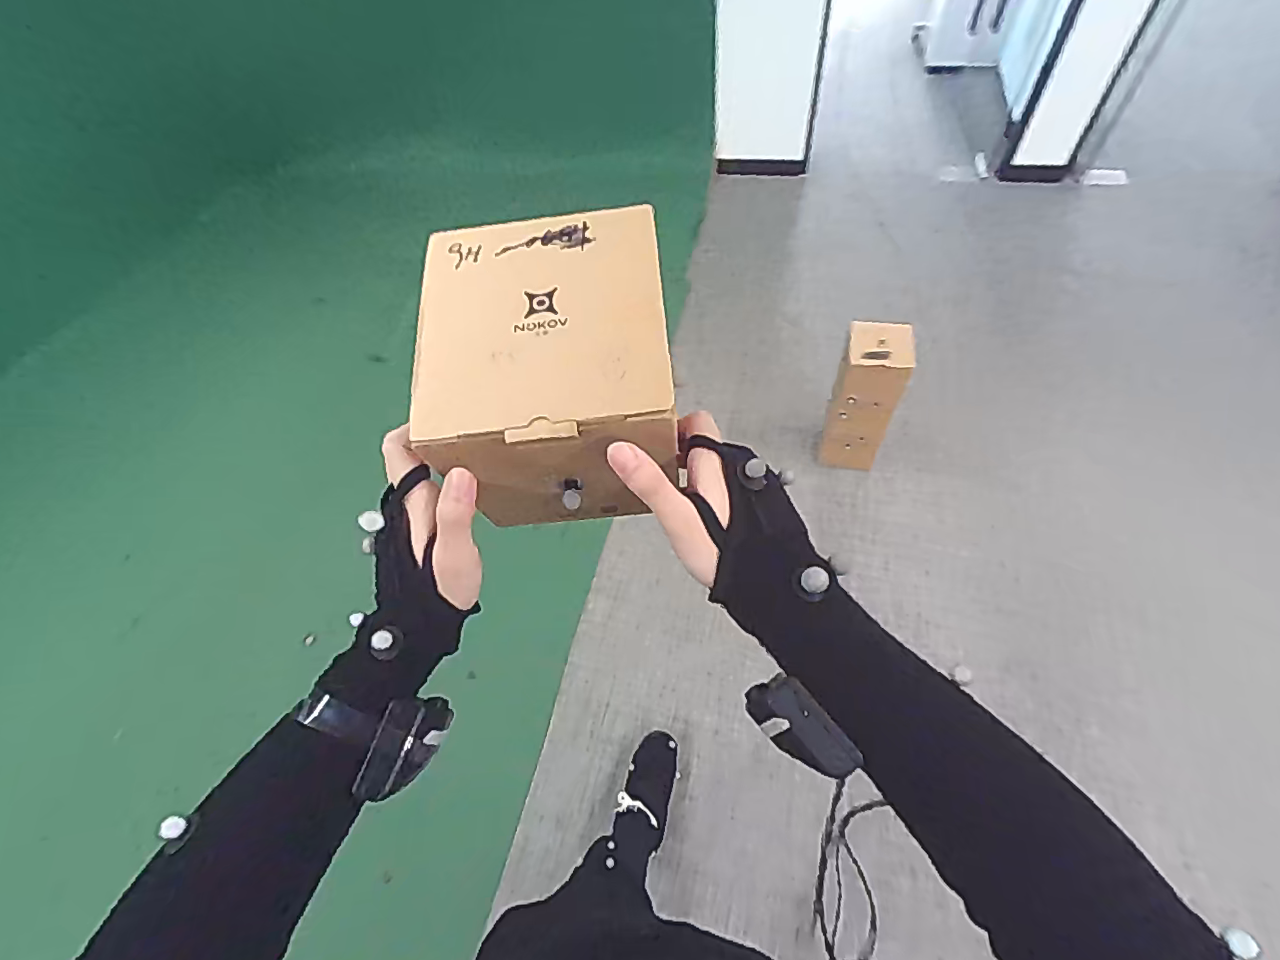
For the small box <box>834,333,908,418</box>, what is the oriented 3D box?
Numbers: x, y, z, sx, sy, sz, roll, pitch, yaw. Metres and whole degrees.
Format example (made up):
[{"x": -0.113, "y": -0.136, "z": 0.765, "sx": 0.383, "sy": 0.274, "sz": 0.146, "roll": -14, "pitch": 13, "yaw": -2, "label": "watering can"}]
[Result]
[{"x": 0.663, "y": -0.300, "z": 1.563, "sx": 0.168, "sy": 0.176, "sz": 0.179, "roll": 7, "pitch": 56, "yaw": 12, "label": "small box"}]

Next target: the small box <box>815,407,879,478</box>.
[{"x": 0.700, "y": -0.123, "z": 1.838, "sx": 0.179, "sy": 0.176, "sz": 0.168, "roll": 9, "pitch": 57, "yaw": 12, "label": "small box"}]

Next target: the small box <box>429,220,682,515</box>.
[{"x": -0.055, "y": -0.077, "z": 0.450, "sx": 0.168, "sy": 0.176, "sz": 0.179, "roll": -6, "pitch": 66, "yaw": 3, "label": "small box"}]
